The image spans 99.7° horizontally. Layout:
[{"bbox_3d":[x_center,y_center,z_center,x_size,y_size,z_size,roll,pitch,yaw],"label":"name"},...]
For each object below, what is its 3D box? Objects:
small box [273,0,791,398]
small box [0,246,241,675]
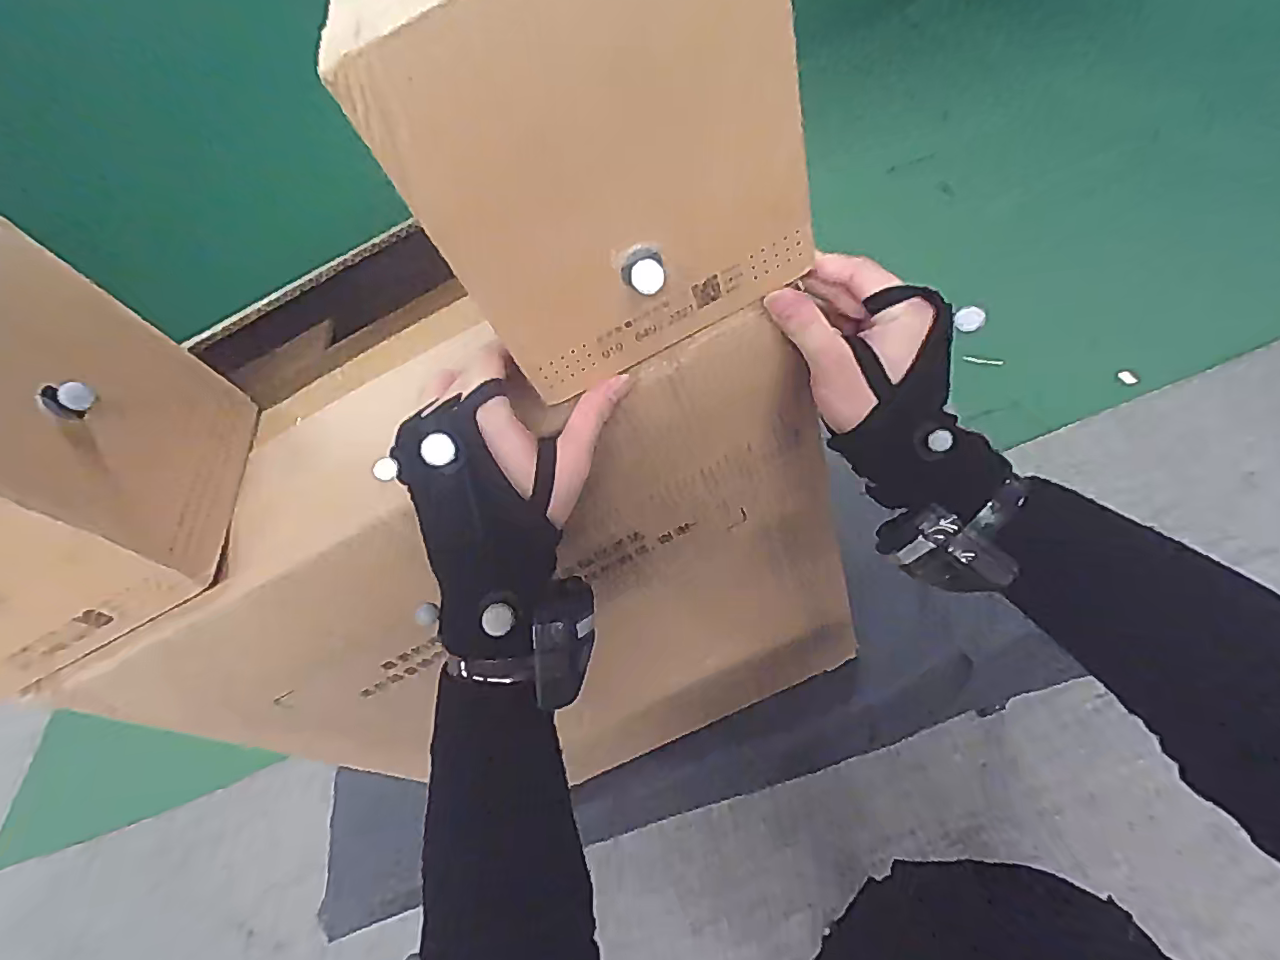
[{"bbox_3d":[-0.041,-0.177,0.279,0.168,0.176,0.179,-27,51,4],"label":"small box"},{"bbox_3d":[-0.381,-0.004,0.318,0.168,0.176,0.179,-27,51,6],"label":"small box"}]
